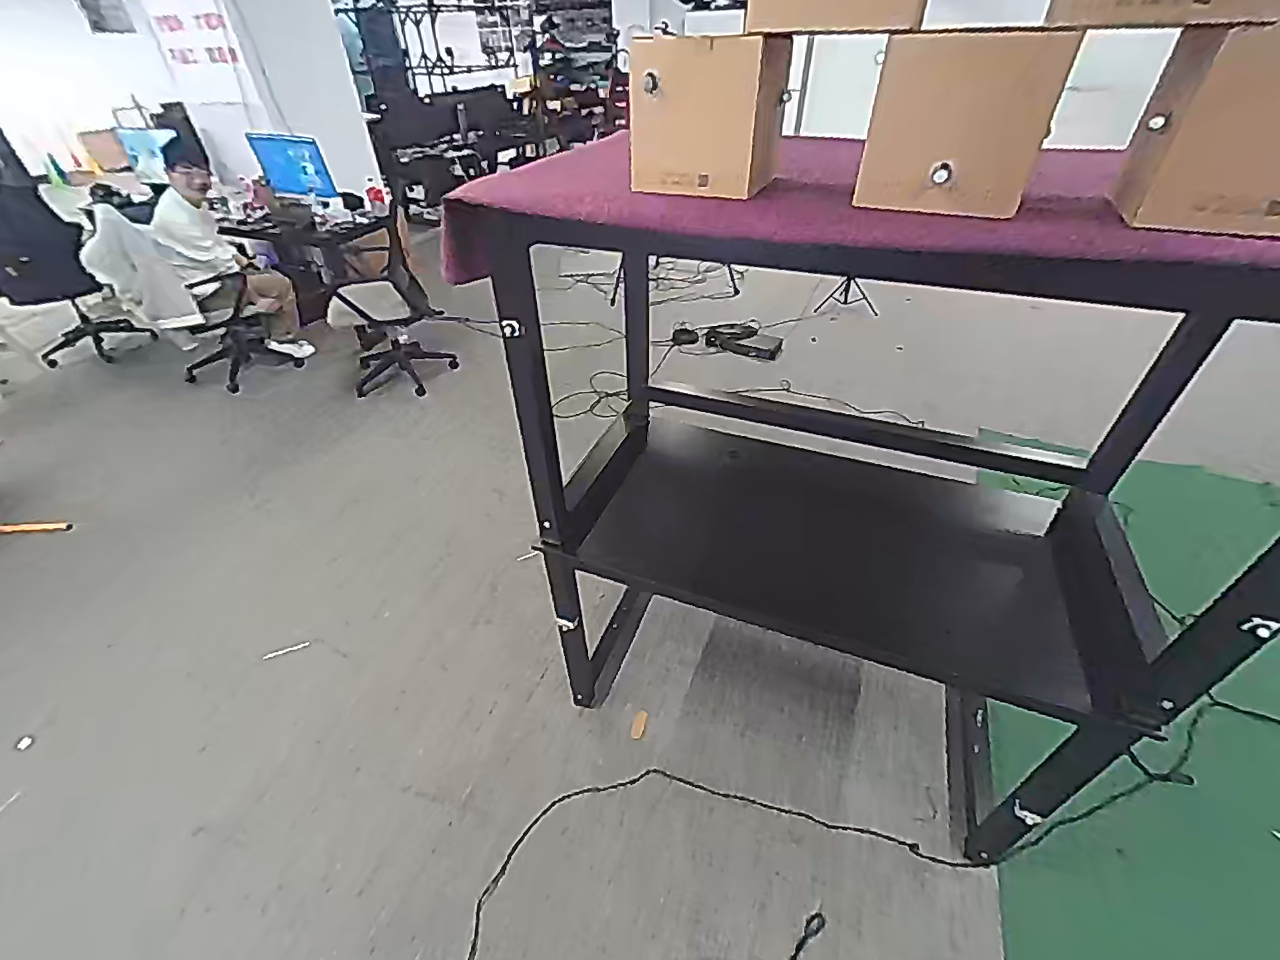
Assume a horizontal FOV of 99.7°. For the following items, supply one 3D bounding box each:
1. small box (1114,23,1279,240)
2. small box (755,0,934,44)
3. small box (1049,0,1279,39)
[{"bbox_3d":[0.626,-0.351,0.545,0.168,0.176,0.179,17,41,22],"label":"small box"},{"bbox_3d":[0.232,-0.579,0.577,0.179,0.176,0.168,16,41,19],"label":"small box"},{"bbox_3d":[0.503,-0.513,0.488,0.168,0.176,0.179,17,42,21],"label":"small box"}]
